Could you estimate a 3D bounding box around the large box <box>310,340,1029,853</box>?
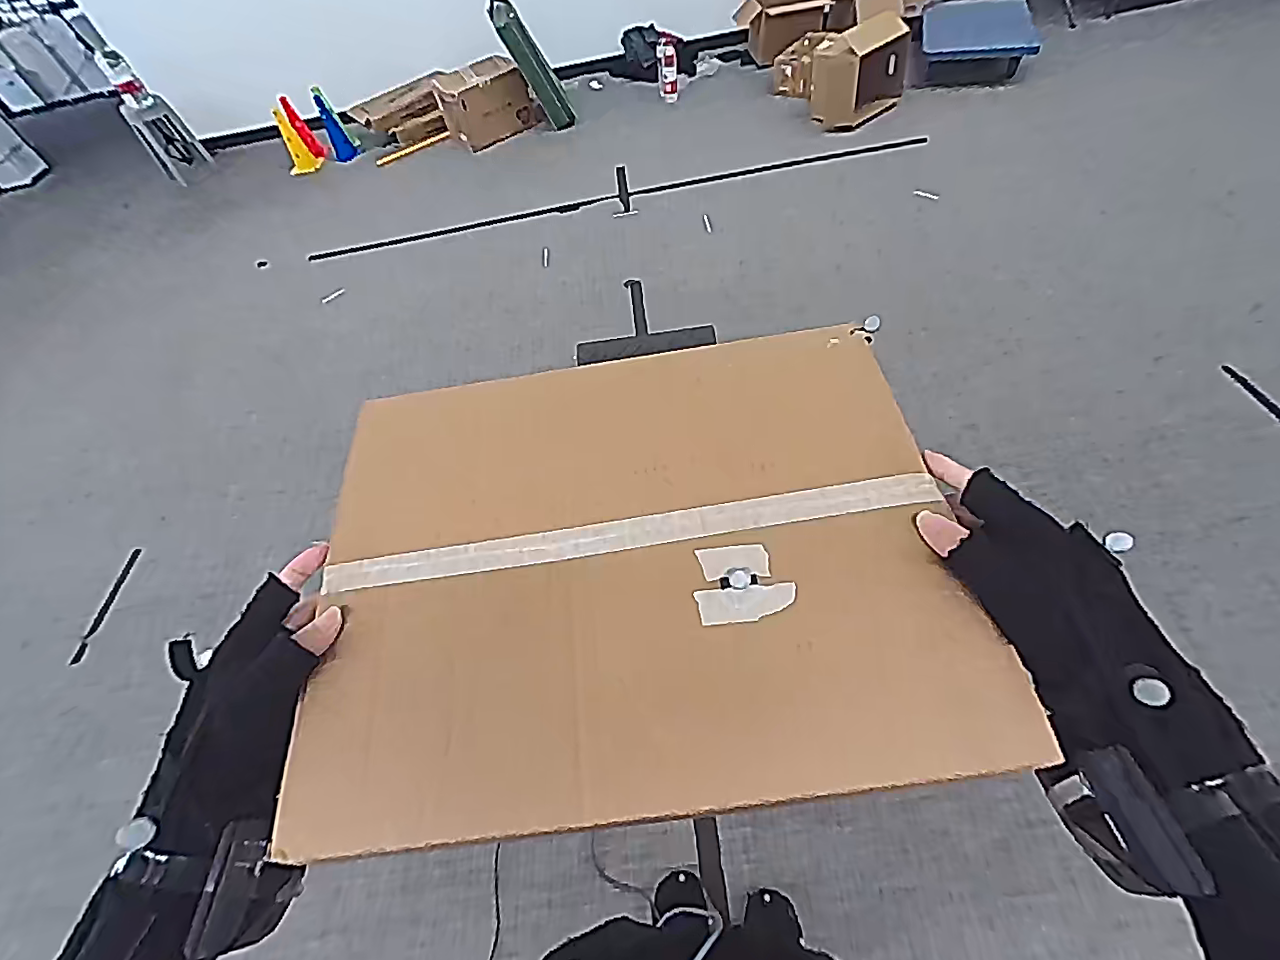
[{"bbox_3d":[0.010,0.121,0.494,0.408,0.320,0.320,-8,59,2],"label":"large box"}]
